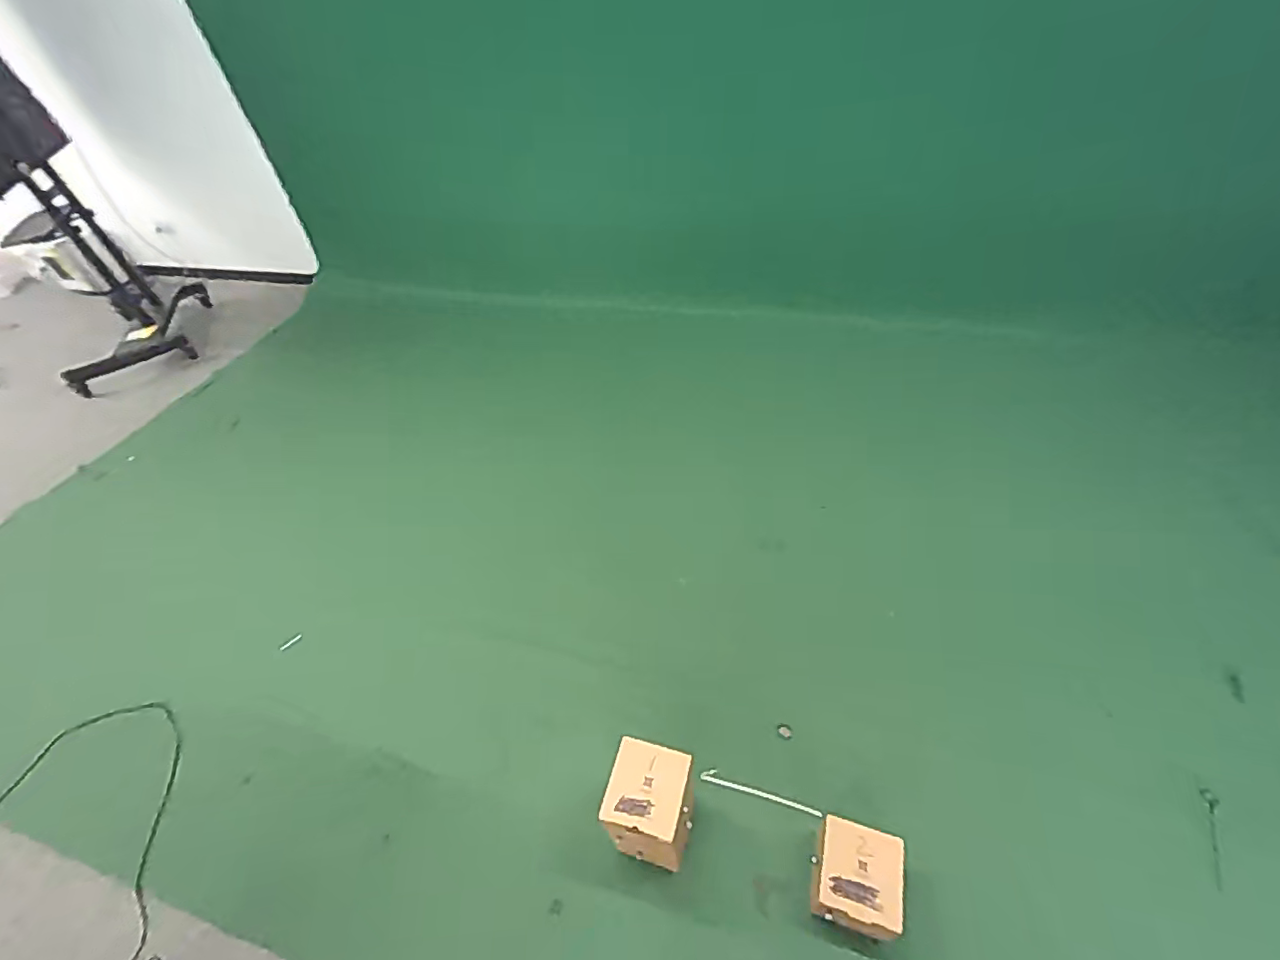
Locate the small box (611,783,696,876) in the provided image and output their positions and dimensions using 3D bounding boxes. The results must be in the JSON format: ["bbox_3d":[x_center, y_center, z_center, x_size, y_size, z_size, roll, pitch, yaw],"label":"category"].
[{"bbox_3d":[0.040,0.844,1.340,0.168,0.176,0.179,9,48,16],"label":"small box"}]

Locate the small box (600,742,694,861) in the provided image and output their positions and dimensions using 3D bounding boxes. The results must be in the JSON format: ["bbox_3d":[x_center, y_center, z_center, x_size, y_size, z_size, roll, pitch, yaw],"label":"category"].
[{"bbox_3d":[0.025,0.730,1.223,0.168,0.176,0.179,9,48,16],"label":"small box"}]
